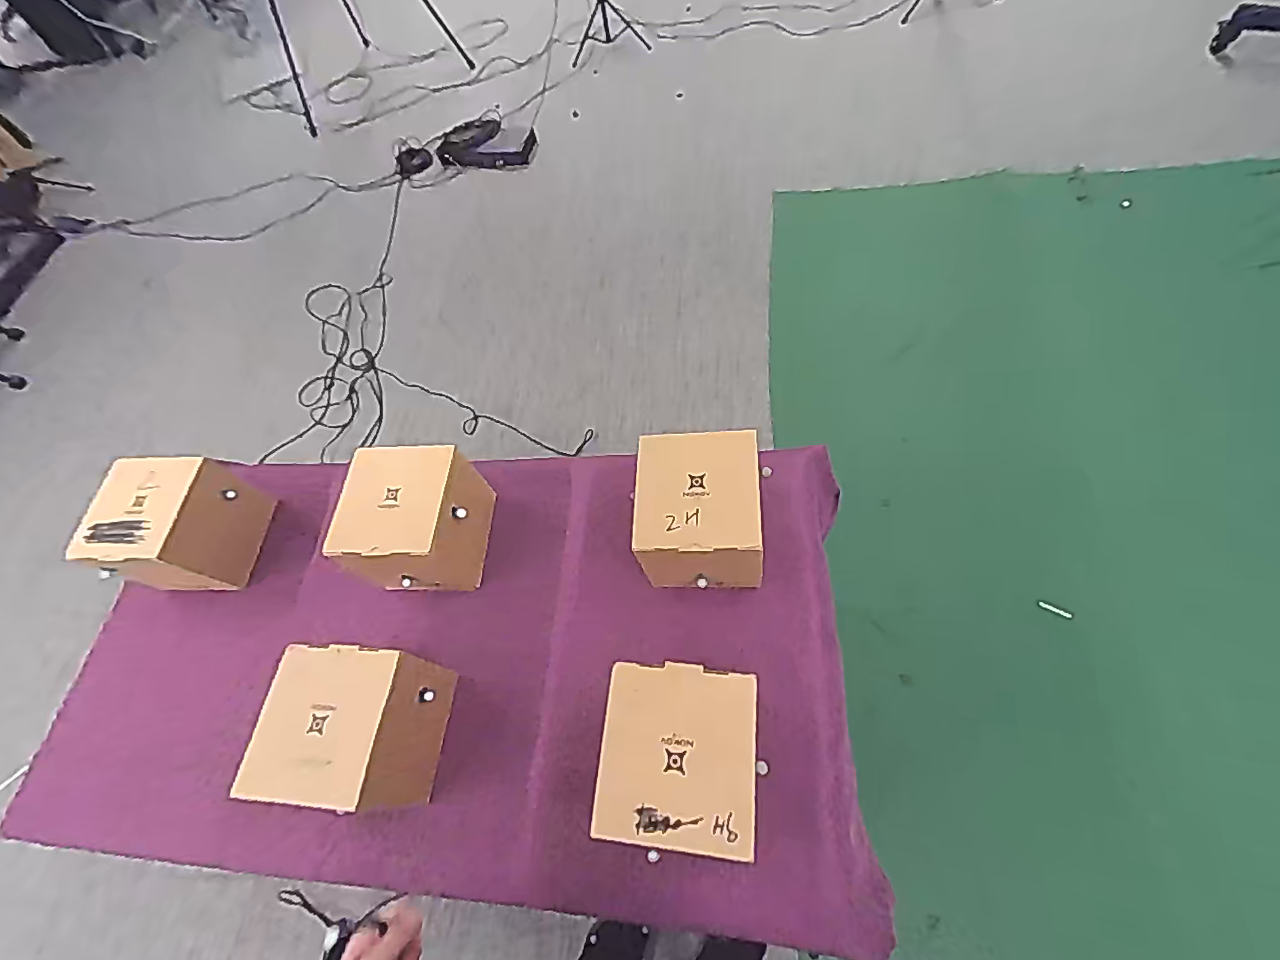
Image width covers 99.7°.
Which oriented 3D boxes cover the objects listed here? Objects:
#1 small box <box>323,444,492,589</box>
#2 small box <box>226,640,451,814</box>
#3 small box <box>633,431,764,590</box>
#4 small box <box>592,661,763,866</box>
[{"bbox_3d":[-0.345,0.060,0.845,0.168,0.176,0.179,-1,63,8],"label":"small box"},{"bbox_3d":[-0.370,0.322,0.706,0.168,0.176,0.179,1,61,10],"label":"small box"},{"bbox_3d":[0.091,0.047,0.779,0.168,0.176,0.179,-1,63,11],"label":"small box"},{"bbox_3d":[0.053,0.328,0.635,0.168,0.176,0.179,2,60,11],"label":"small box"}]
